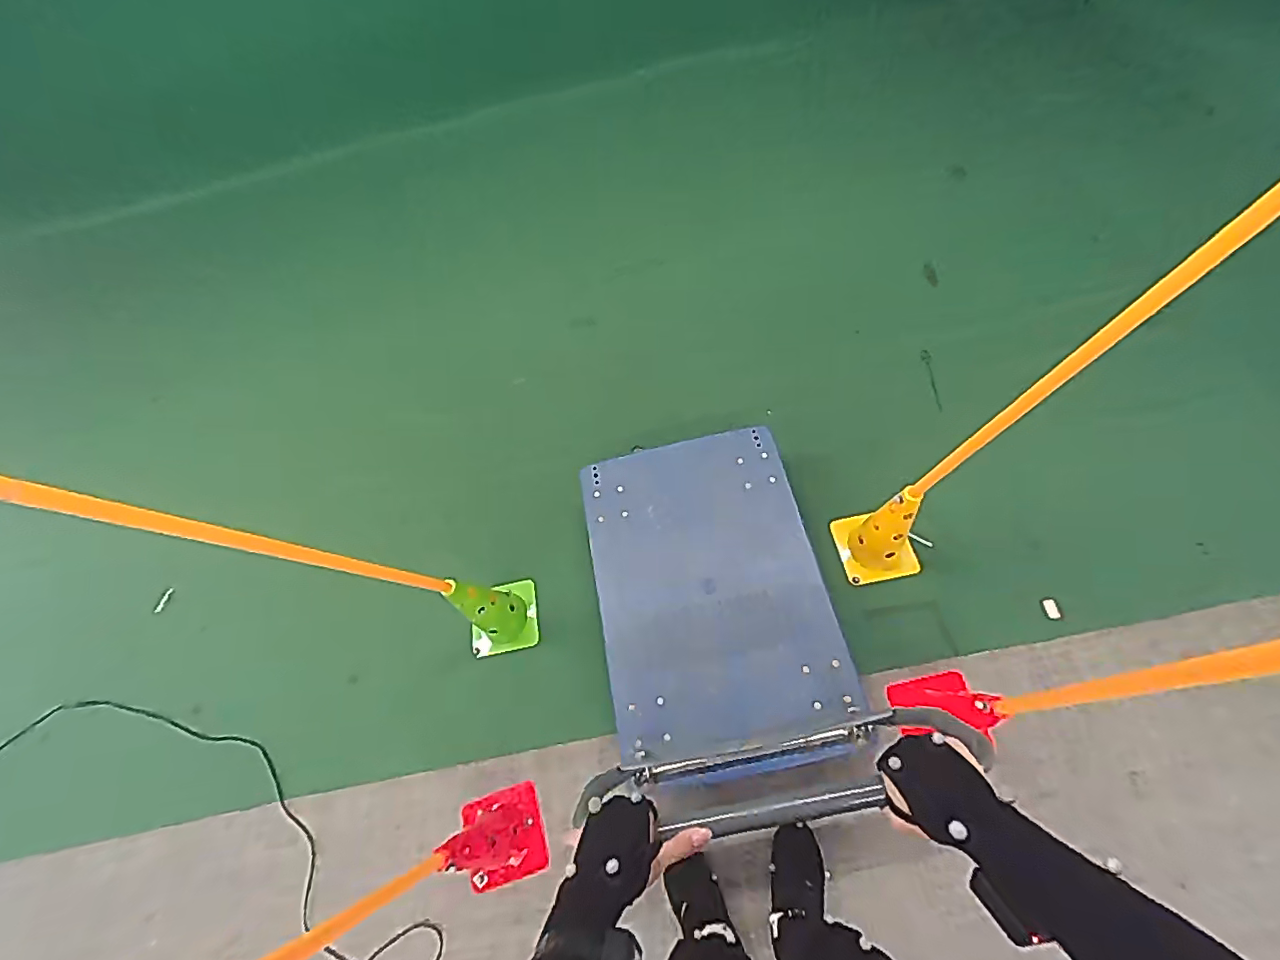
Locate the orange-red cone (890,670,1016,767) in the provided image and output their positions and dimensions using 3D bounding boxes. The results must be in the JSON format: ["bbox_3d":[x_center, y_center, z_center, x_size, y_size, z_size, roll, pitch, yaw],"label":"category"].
[{"bbox_3d":[0.708,0.499,1.168,0.198,0.360,0.199,-12,60,2],"label":"orange-red cone"}]

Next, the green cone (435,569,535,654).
[{"bbox_3d":[-0.436,0.317,1.439,0.200,0.368,0.202,-13,61,3],"label":"green cone"}]
